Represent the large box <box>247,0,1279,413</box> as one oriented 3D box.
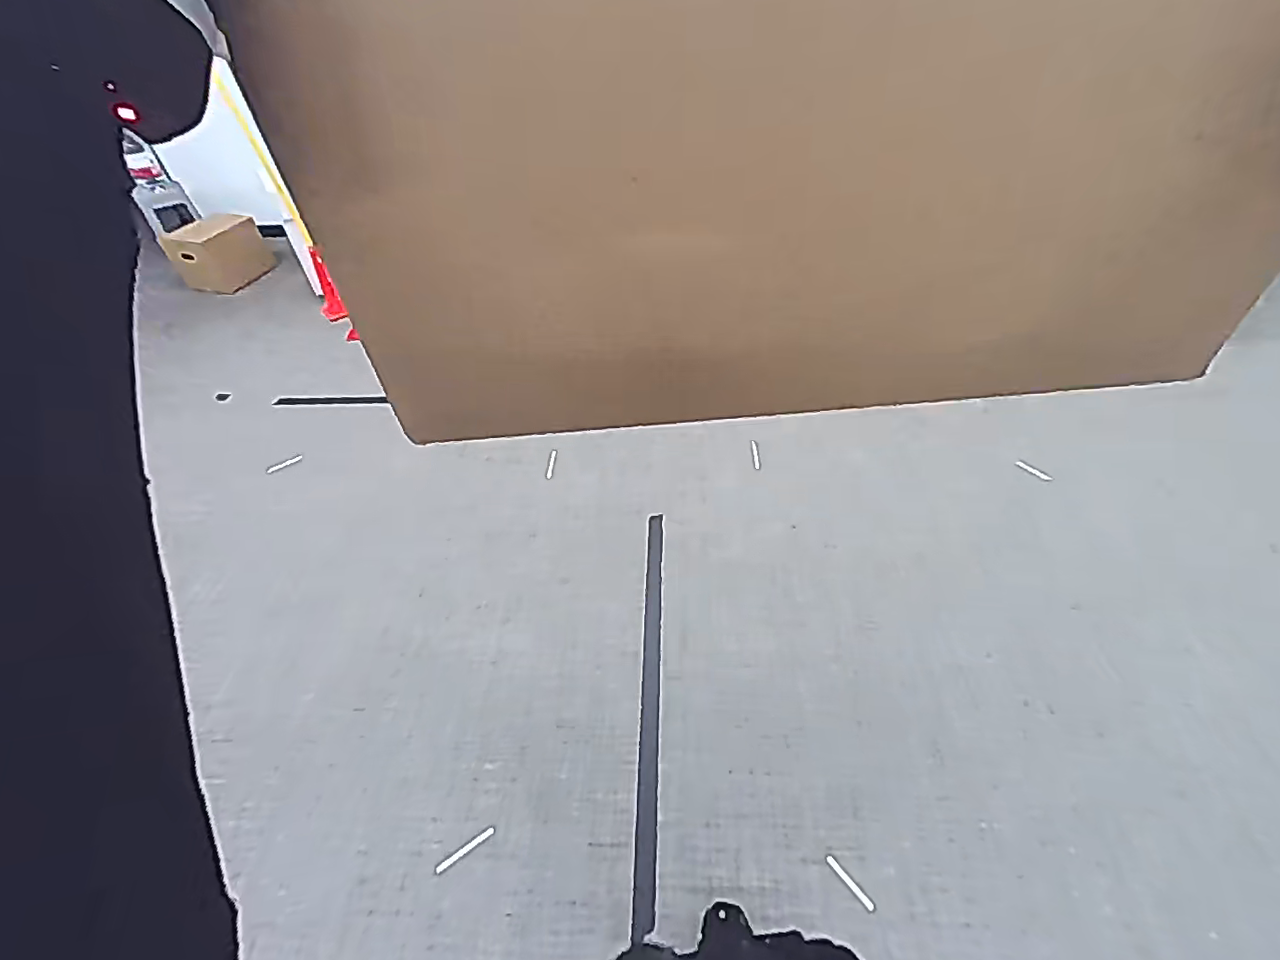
[{"bbox_3d":[0.061,-0.258,0.289,0.408,0.320,0.320,-4,44,0],"label":"large box"}]
